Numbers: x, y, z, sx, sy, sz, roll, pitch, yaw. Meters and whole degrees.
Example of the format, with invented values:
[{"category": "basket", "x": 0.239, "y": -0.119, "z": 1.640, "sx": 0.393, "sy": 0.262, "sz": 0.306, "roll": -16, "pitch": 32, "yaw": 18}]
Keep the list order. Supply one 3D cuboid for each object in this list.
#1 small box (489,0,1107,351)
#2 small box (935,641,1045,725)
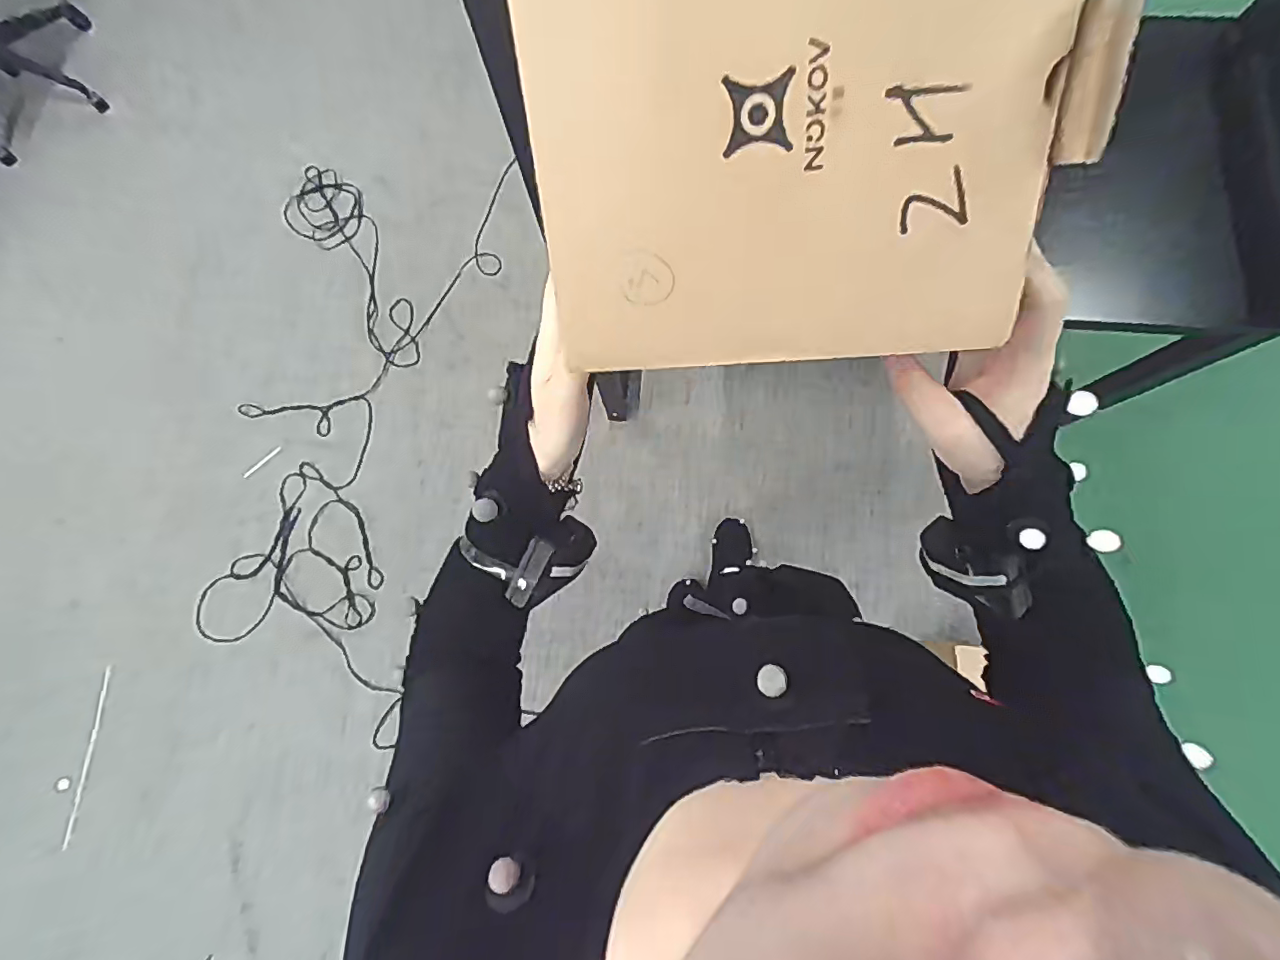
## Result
[{"category": "small box", "x": 0.053, "y": -0.161, "z": 0.234, "sx": 0.179, "sy": 0.176, "sz": 0.168, "roll": -2, "pitch": 119, "yaw": 8}, {"category": "small box", "x": 0.848, "y": 0.492, "z": 1.333, "sx": 0.179, "sy": 0.176, "sz": 0.168, "roll": 3, "pitch": 78, "yaw": 4}]
